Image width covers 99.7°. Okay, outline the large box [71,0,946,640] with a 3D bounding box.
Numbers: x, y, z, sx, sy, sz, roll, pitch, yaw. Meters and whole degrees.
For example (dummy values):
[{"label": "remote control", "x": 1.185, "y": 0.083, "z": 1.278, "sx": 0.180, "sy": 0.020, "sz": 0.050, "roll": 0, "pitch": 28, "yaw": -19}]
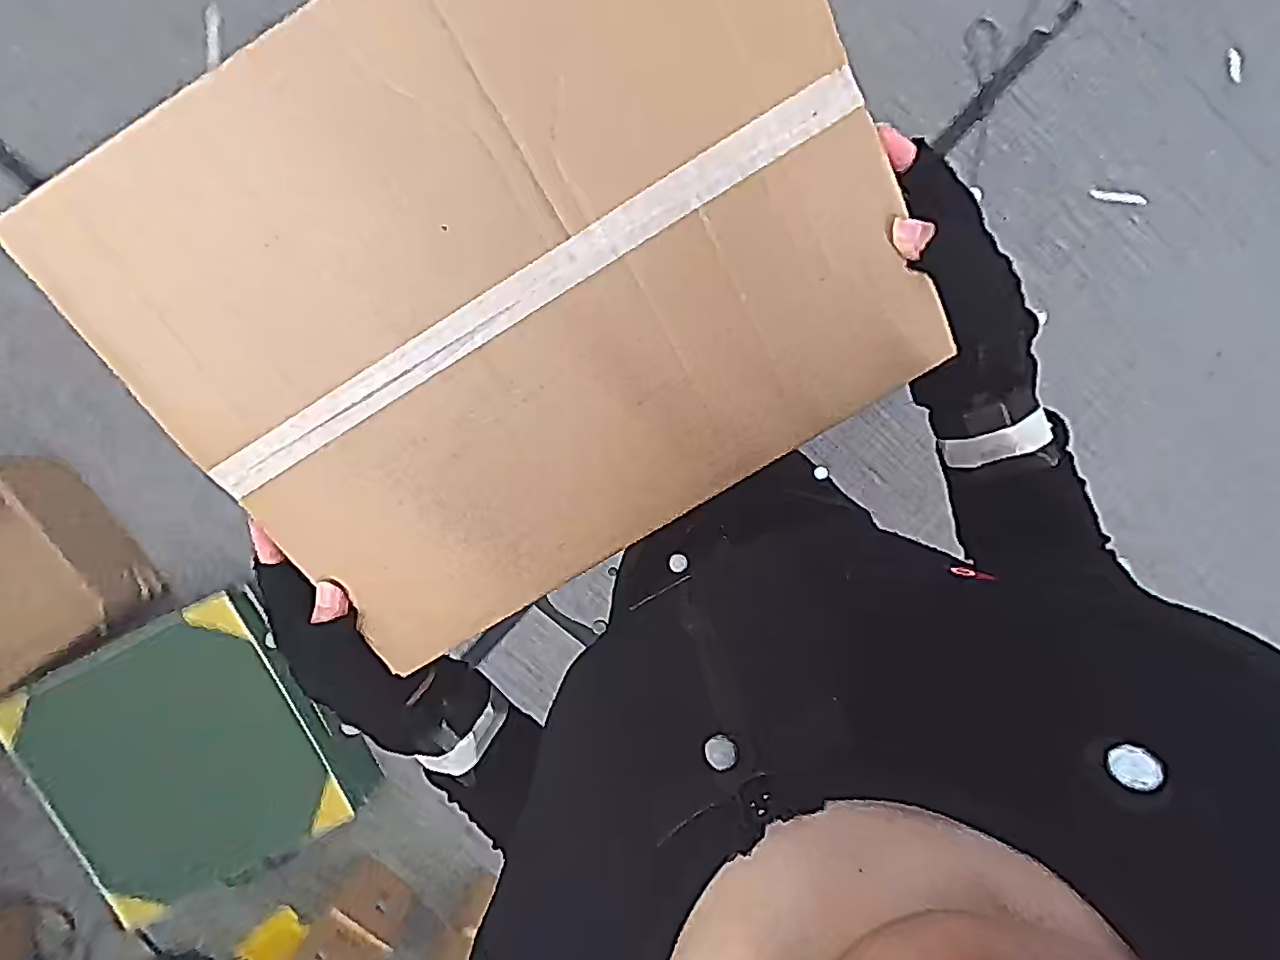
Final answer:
[{"label": "large box", "x": -0.066, "y": -0.153, "z": 0.449, "sx": 0.408, "sy": 0.320, "sz": 0.320, "roll": -29, "pitch": 108, "yaw": 4}]
